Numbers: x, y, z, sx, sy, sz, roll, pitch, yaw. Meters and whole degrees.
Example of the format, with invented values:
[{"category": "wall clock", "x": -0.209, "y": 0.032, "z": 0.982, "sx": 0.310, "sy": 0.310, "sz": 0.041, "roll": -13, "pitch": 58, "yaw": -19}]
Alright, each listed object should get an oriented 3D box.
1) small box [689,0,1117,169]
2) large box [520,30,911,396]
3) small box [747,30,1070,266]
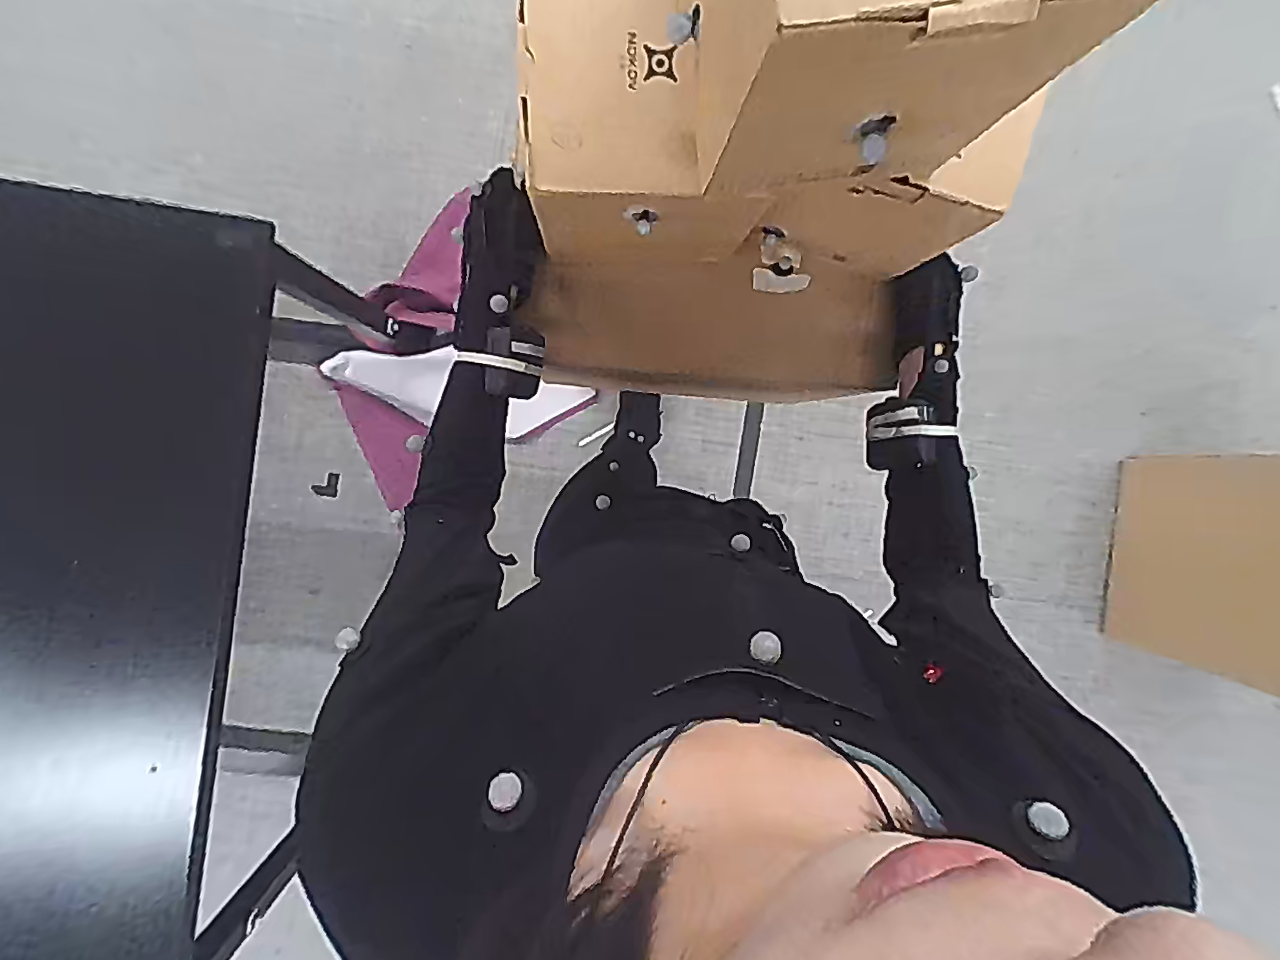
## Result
[{"category": "small box", "x": 0.120, "y": -0.287, "z": 0.281, "sx": 0.168, "sy": 0.176, "sz": 0.179, "roll": -8, "pitch": 97, "yaw": -2}, {"category": "large box", "x": 0.071, "y": -0.281, "z": 0.688, "sx": 0.408, "sy": 0.320, "sz": 0.320, "roll": 3, "pitch": 96, "yaw": -5}, {"category": "small box", "x": 0.201, "y": -0.304, "z": 0.448, "sx": 0.168, "sy": 0.176, "sz": 0.179, "roll": 17, "pitch": 93, "yaw": -5}]
